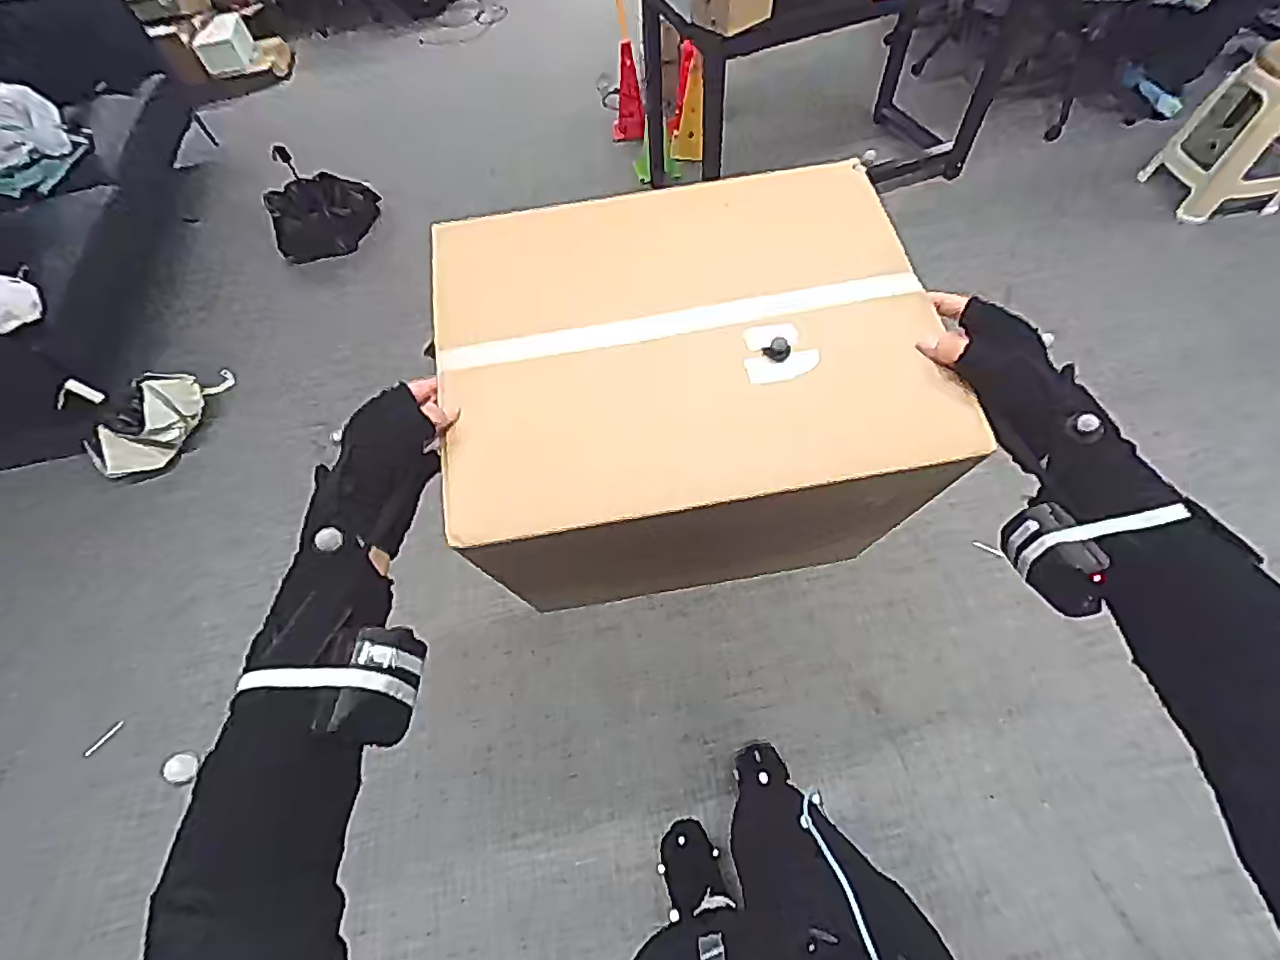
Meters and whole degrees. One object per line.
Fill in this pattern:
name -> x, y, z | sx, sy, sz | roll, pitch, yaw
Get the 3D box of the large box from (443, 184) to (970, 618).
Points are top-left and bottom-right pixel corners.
large box -> 0.039, -0.059, 0.601 | 0.408, 0.320, 0.320 | -11, 68, -2
